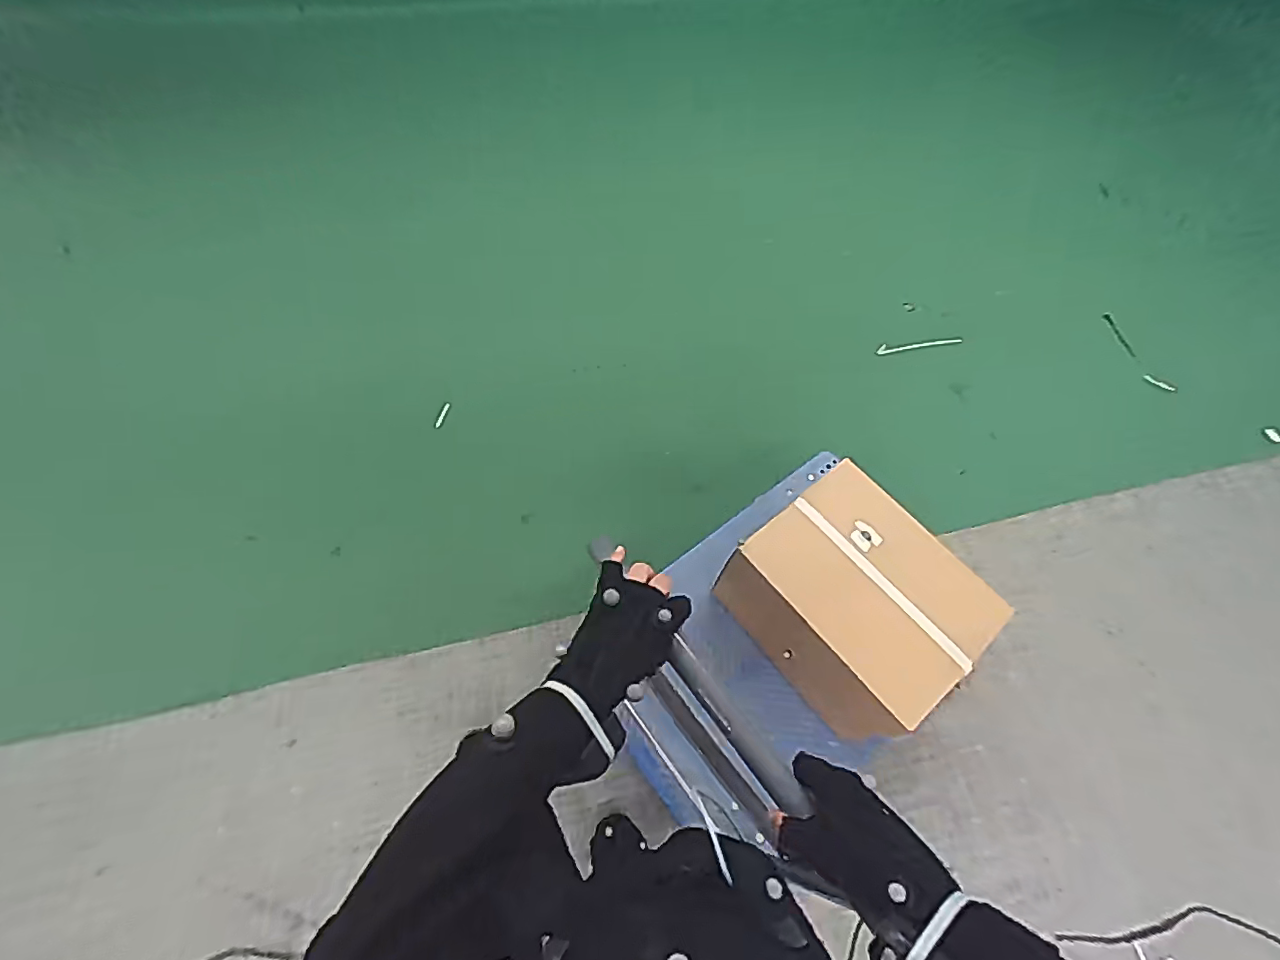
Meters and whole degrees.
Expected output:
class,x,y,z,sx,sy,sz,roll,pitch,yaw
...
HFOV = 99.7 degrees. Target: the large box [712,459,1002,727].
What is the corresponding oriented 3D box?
class,x,y,z,sx,sy,sz,roll,pitch,yaw
large box,0.413,0.243,1.127,0.320,0.320,0.408,-35,70,-19
